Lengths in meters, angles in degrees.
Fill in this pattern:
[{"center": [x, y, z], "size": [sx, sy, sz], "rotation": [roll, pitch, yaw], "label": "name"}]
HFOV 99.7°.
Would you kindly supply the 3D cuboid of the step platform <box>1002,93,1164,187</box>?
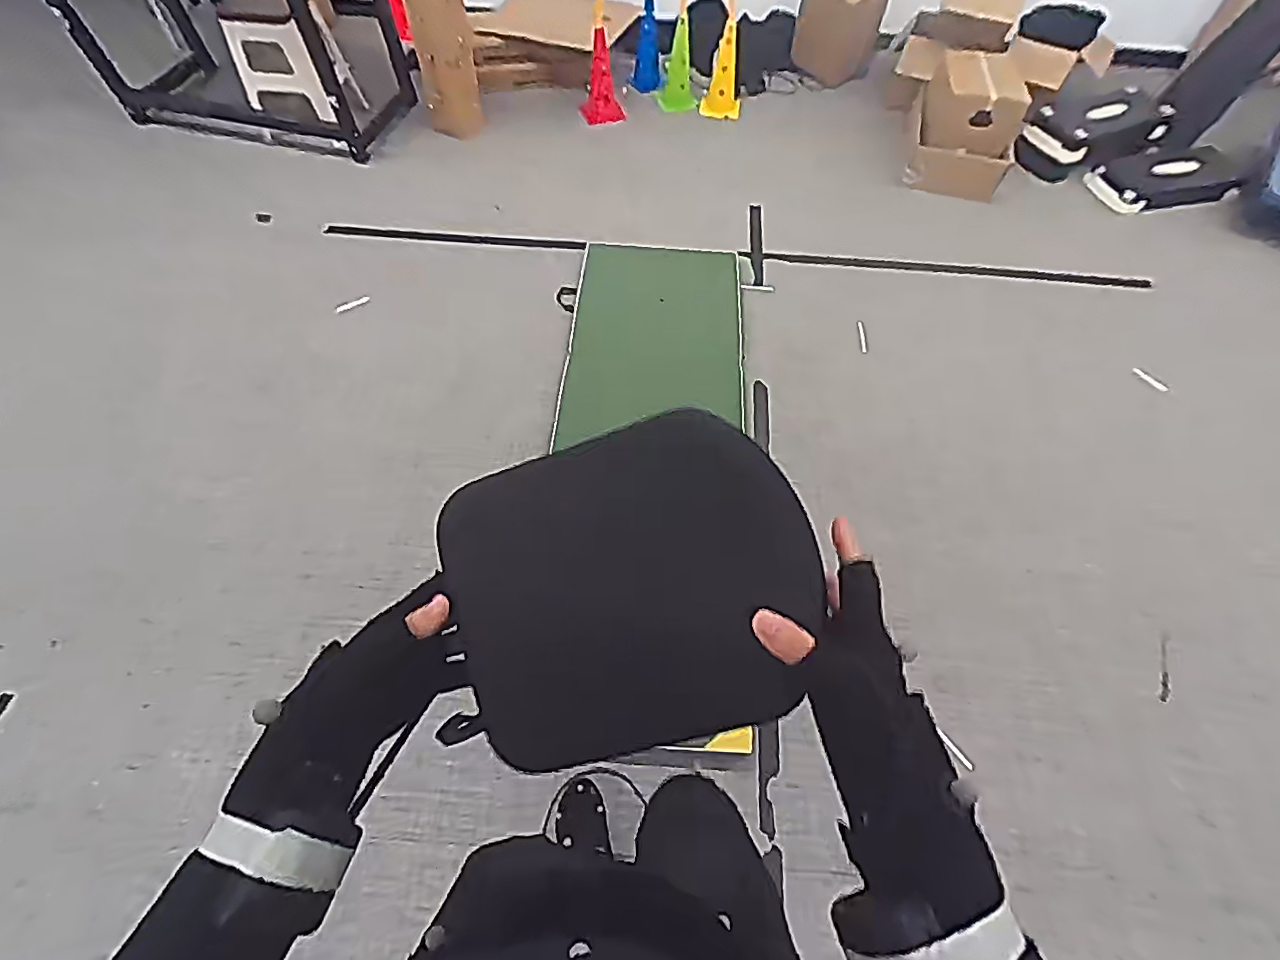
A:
[{"center": [2.115, -1.628, 2.580], "size": [0.684, 0.204, 0.286], "rotation": [-21, 63, -13], "label": "step platform"}]
